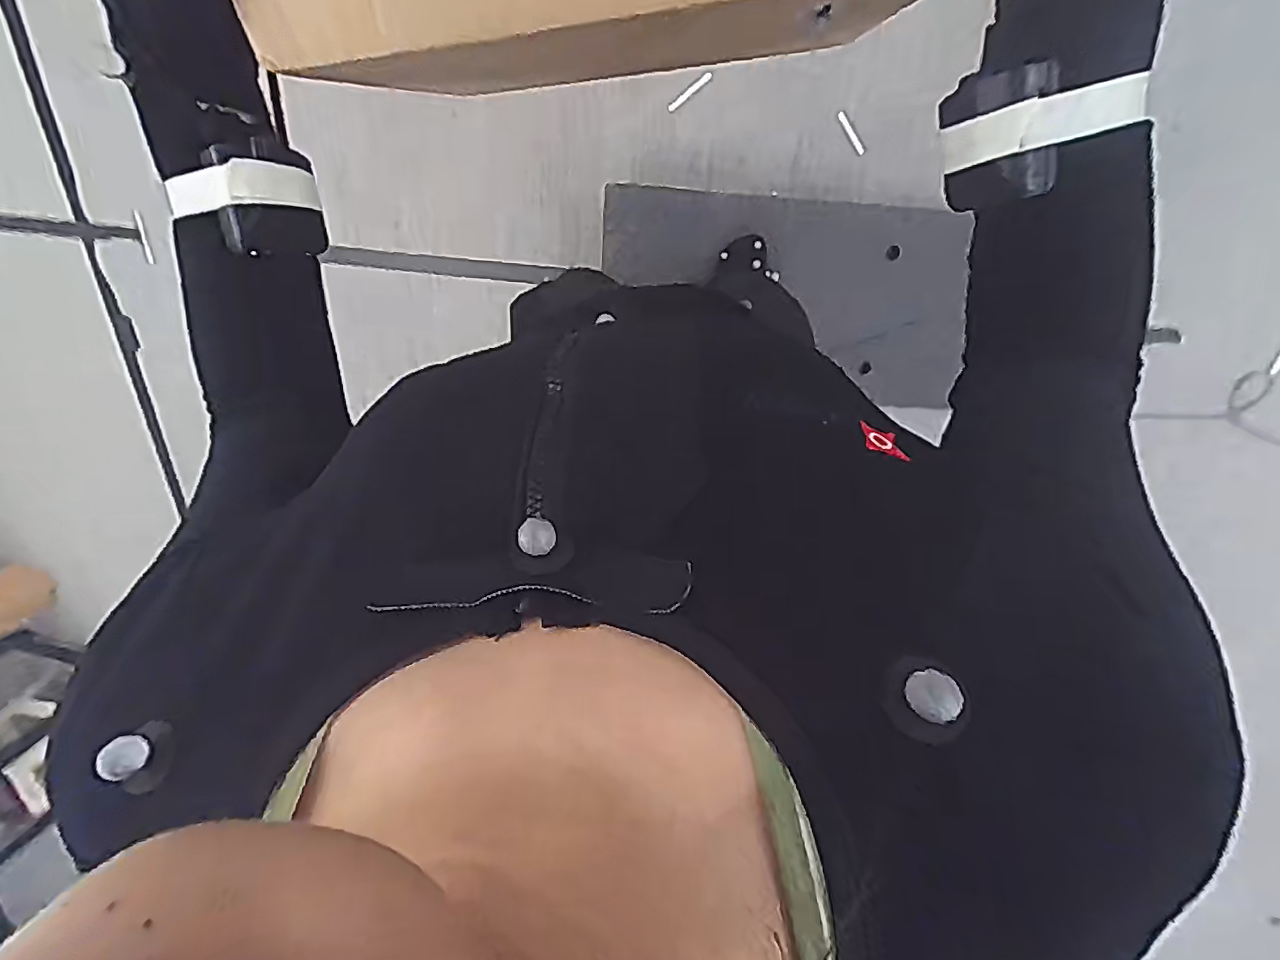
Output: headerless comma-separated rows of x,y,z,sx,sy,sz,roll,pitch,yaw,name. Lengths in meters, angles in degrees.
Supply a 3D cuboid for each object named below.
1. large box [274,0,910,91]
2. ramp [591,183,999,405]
-0.013,-0.466,0.347,0.408,0.320,0.320,-1,122,8,large box
0.379,-0.450,1.385,0.991,0.206,0.509,5,114,5,ramp
